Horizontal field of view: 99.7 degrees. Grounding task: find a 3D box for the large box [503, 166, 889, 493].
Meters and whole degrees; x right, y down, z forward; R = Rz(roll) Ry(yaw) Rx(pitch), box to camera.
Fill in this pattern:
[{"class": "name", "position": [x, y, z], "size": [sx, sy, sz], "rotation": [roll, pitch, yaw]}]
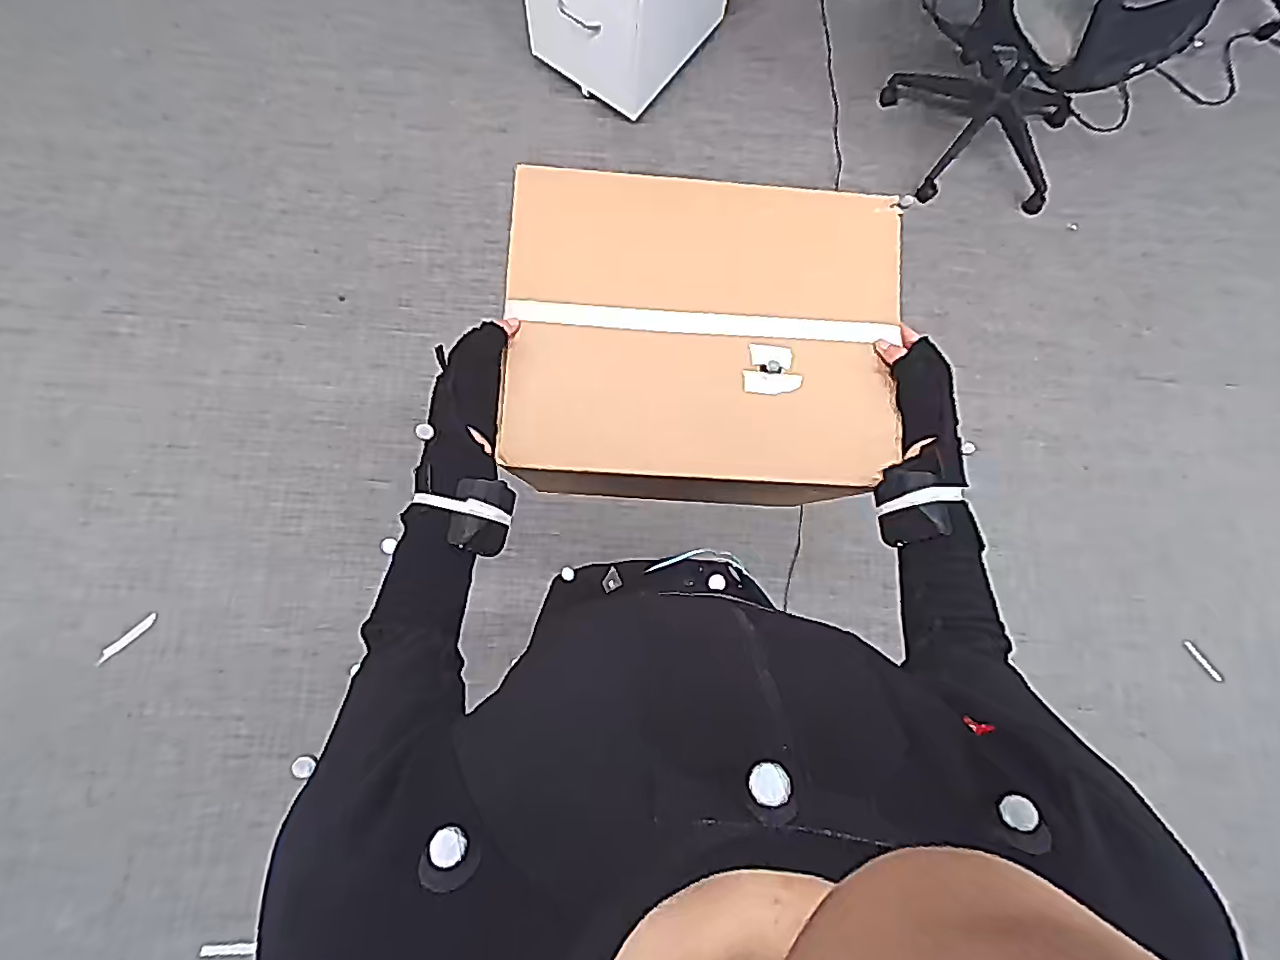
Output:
[{"class": "large box", "position": [0.053, -0.154, 0.711], "size": [0.408, 0.320, 0.320], "rotation": [4, 85, -4]}]
